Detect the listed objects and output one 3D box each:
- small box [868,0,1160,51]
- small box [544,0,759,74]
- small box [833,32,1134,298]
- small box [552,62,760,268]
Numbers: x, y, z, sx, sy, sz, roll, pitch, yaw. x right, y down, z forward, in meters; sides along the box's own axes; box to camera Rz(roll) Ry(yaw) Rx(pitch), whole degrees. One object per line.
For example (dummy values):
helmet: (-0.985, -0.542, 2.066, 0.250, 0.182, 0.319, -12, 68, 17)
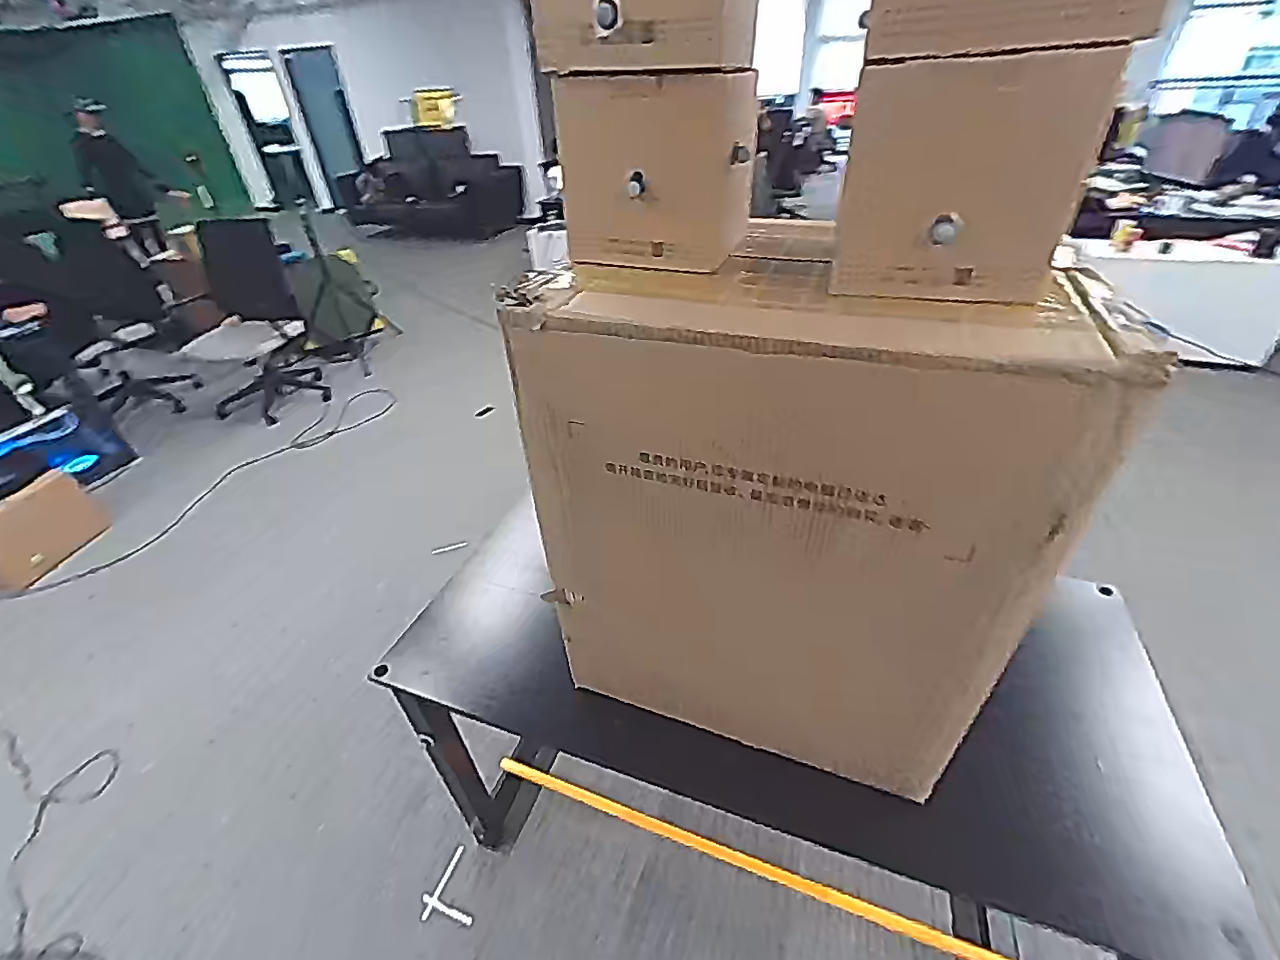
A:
small box: (0.263, -0.402, 0.372, 0.179, 0.176, 0.168, 10, 39, 18)
small box: (0.015, -0.462, 0.475, 0.168, 0.176, 0.179, 9, 39, 16)
small box: (0.271, -0.274, 0.475, 0.168, 0.176, 0.179, 9, 39, 19)
small box: (0.026, -0.339, 0.582, 0.168, 0.176, 0.179, 11, 39, 16)
